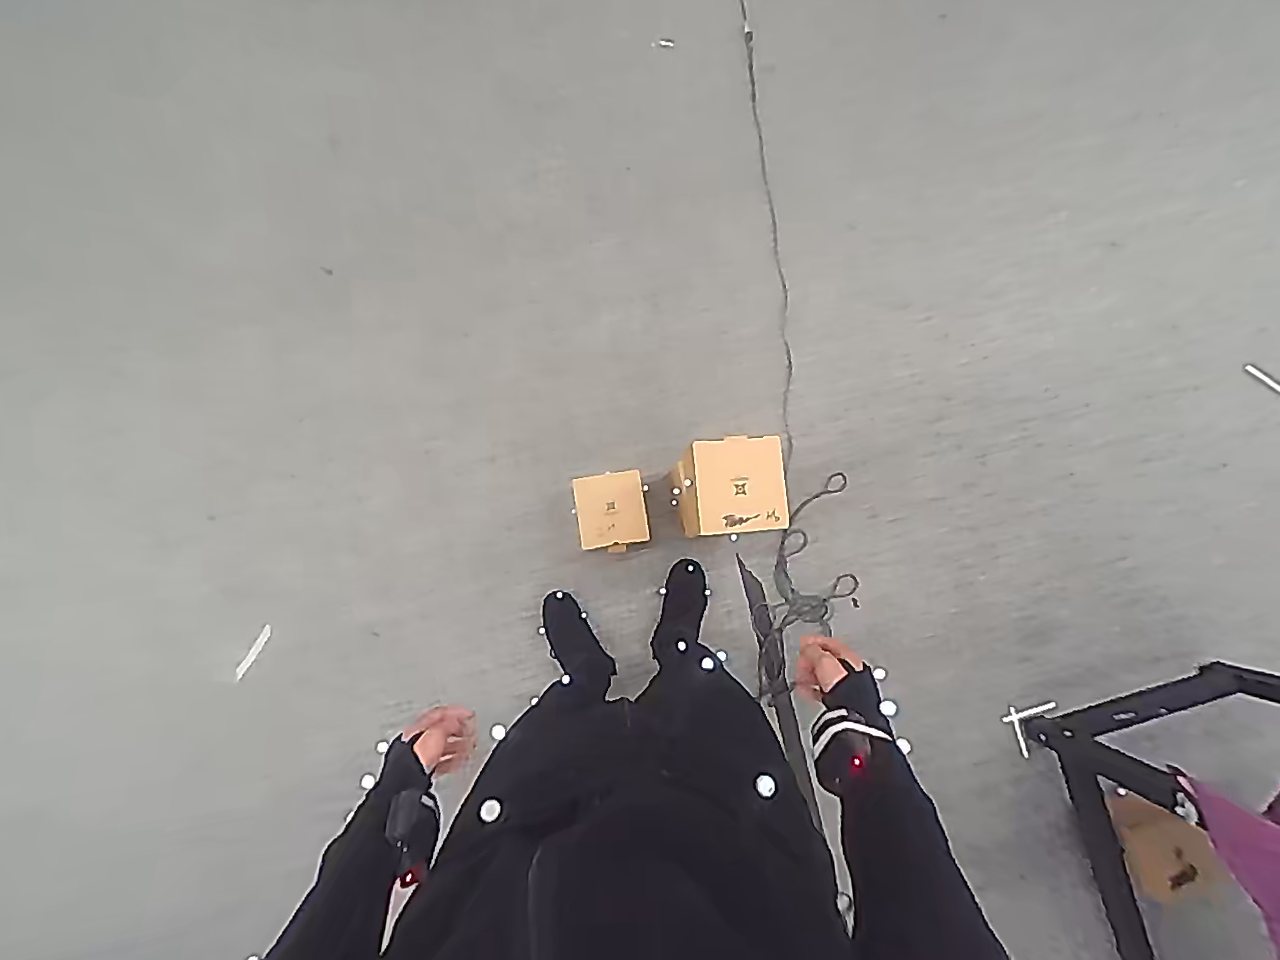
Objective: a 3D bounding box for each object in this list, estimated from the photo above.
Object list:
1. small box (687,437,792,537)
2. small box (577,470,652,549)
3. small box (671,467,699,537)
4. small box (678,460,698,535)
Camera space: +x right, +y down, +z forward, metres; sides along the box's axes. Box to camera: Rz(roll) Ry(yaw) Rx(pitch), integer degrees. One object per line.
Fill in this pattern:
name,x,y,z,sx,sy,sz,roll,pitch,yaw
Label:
small box,0.187,0.019,1.066,0.168,0.176,0.179,-4,84,-2
small box,-0.064,0.079,1.380,0.168,0.176,0.179,-8,86,-2
small box,0.180,0.046,1.392,0.168,0.176,0.179,-13,86,-2
small box,0.185,0.032,1.230,0.179,0.176,0.168,-11,85,-2
